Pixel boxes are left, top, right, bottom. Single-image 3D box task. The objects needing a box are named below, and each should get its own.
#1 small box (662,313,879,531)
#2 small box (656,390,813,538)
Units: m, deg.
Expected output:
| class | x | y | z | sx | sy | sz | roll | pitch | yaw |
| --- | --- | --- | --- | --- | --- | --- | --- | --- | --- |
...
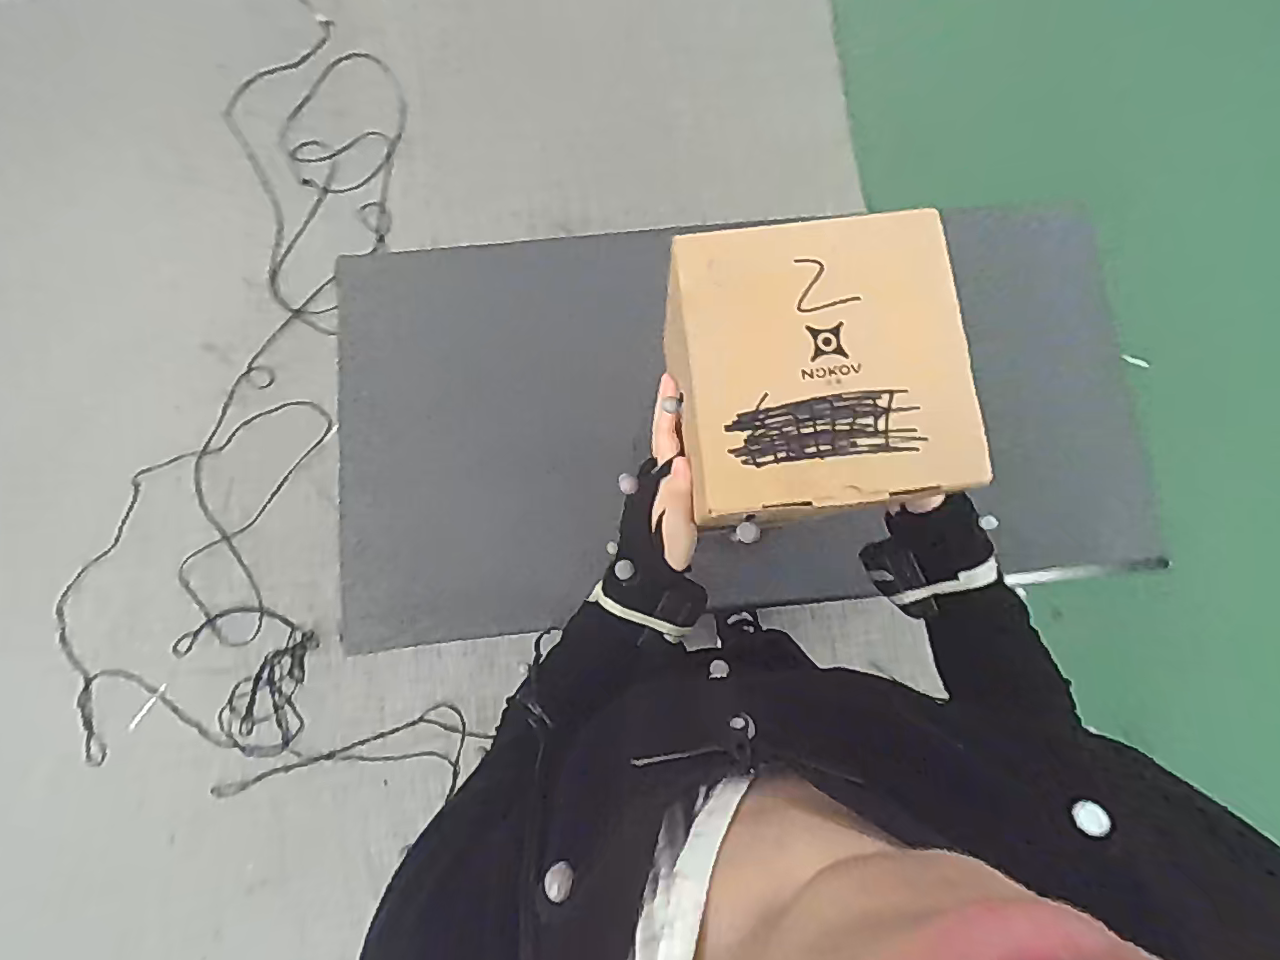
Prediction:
| class | x | y | z | sx | sy | sz | roll | pitch | yaw |
| --- | --- | --- | --- | --- | --- | --- | --- | --- | --- |
| small box | 0.116 | -0.047 | 0.559 | 0.168 | 0.176 | 0.179 | -7 | 82 | -2 |
| small box | 0.113 | -0.021 | 0.719 | 0.168 | 0.176 | 0.179 | -7 | 81 | -1 |
